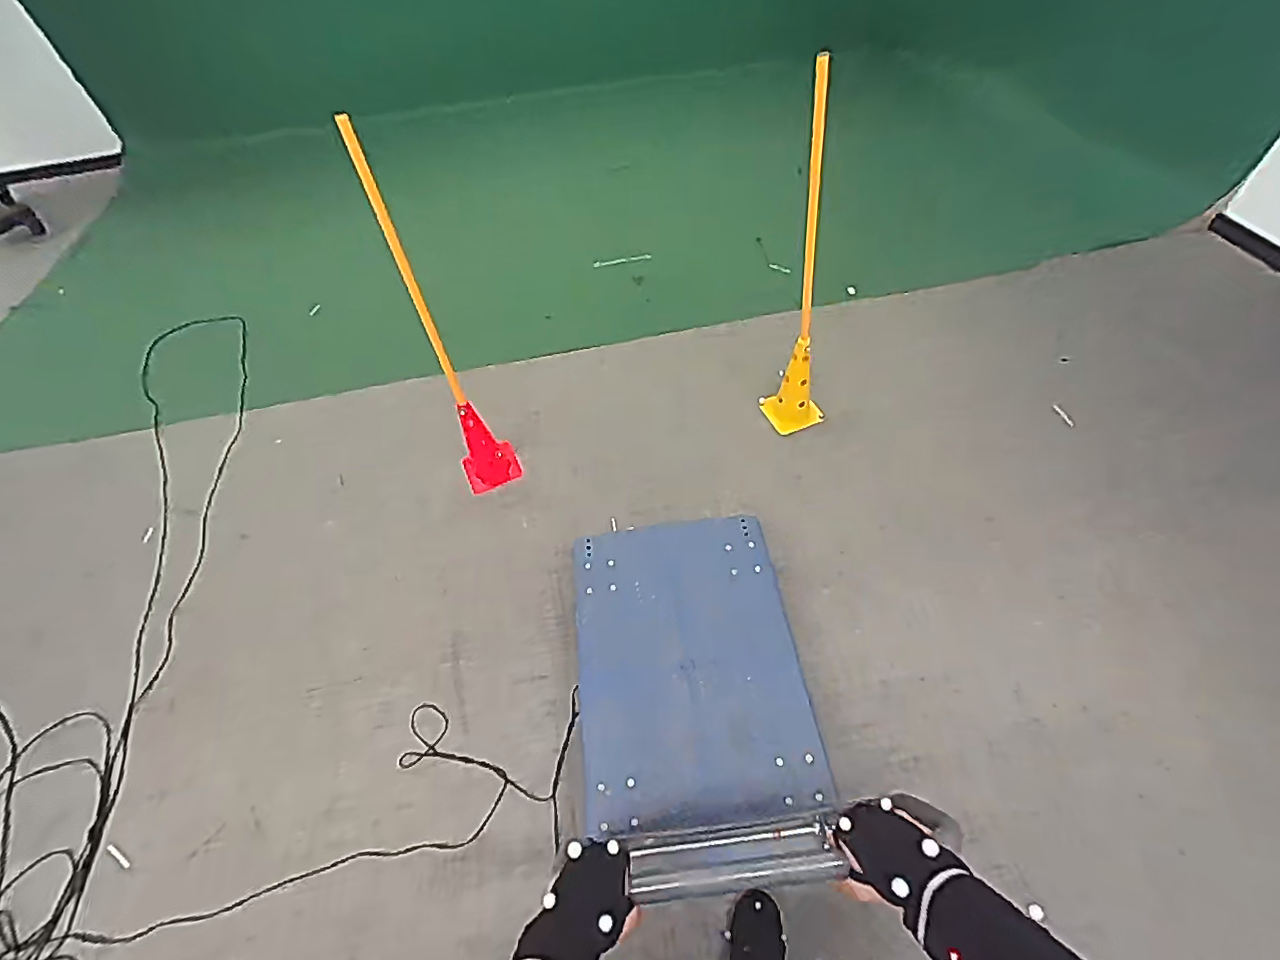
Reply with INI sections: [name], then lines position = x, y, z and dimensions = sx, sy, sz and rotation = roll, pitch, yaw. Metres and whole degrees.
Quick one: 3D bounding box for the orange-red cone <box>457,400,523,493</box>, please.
[orange-red cone]
position = -0.579, -0.147, 1.939
dimensions = 0.199, 0.360, 0.198
rotation = -24, 54, -10
